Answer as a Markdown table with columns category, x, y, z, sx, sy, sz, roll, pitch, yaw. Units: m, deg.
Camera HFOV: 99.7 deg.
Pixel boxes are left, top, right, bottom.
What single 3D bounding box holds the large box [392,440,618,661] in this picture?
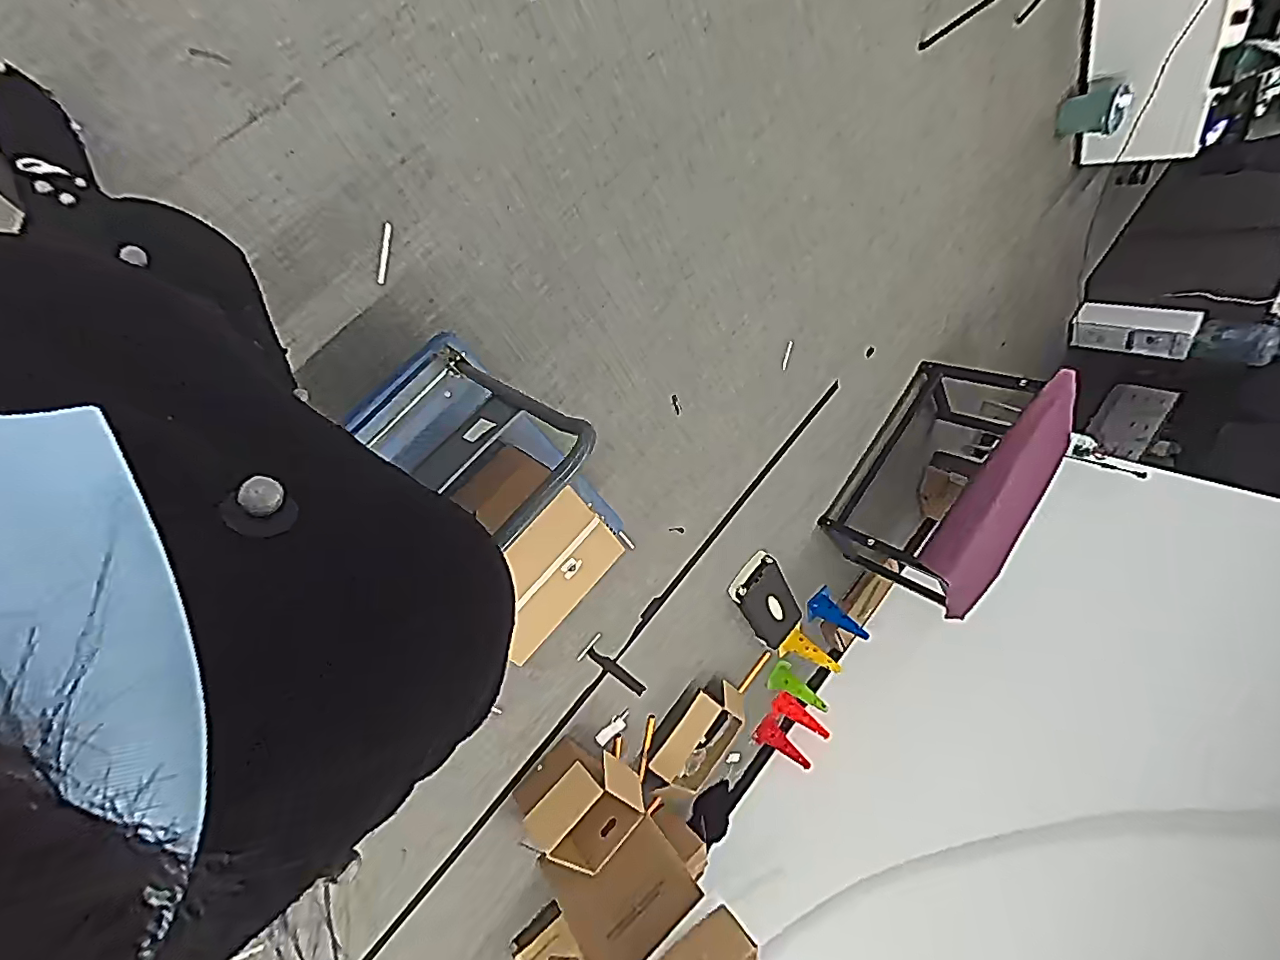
| category | x | y | z | sx | sy | sz | roll | pitch | yaw |
| --- | --- | --- | --- | --- | --- | --- | --- | --- | --- |
| large box | -0.344 | 0.169 | 1.392 | 0.408 | 0.320 | 0.320 | -48 | 133 | -14 |
